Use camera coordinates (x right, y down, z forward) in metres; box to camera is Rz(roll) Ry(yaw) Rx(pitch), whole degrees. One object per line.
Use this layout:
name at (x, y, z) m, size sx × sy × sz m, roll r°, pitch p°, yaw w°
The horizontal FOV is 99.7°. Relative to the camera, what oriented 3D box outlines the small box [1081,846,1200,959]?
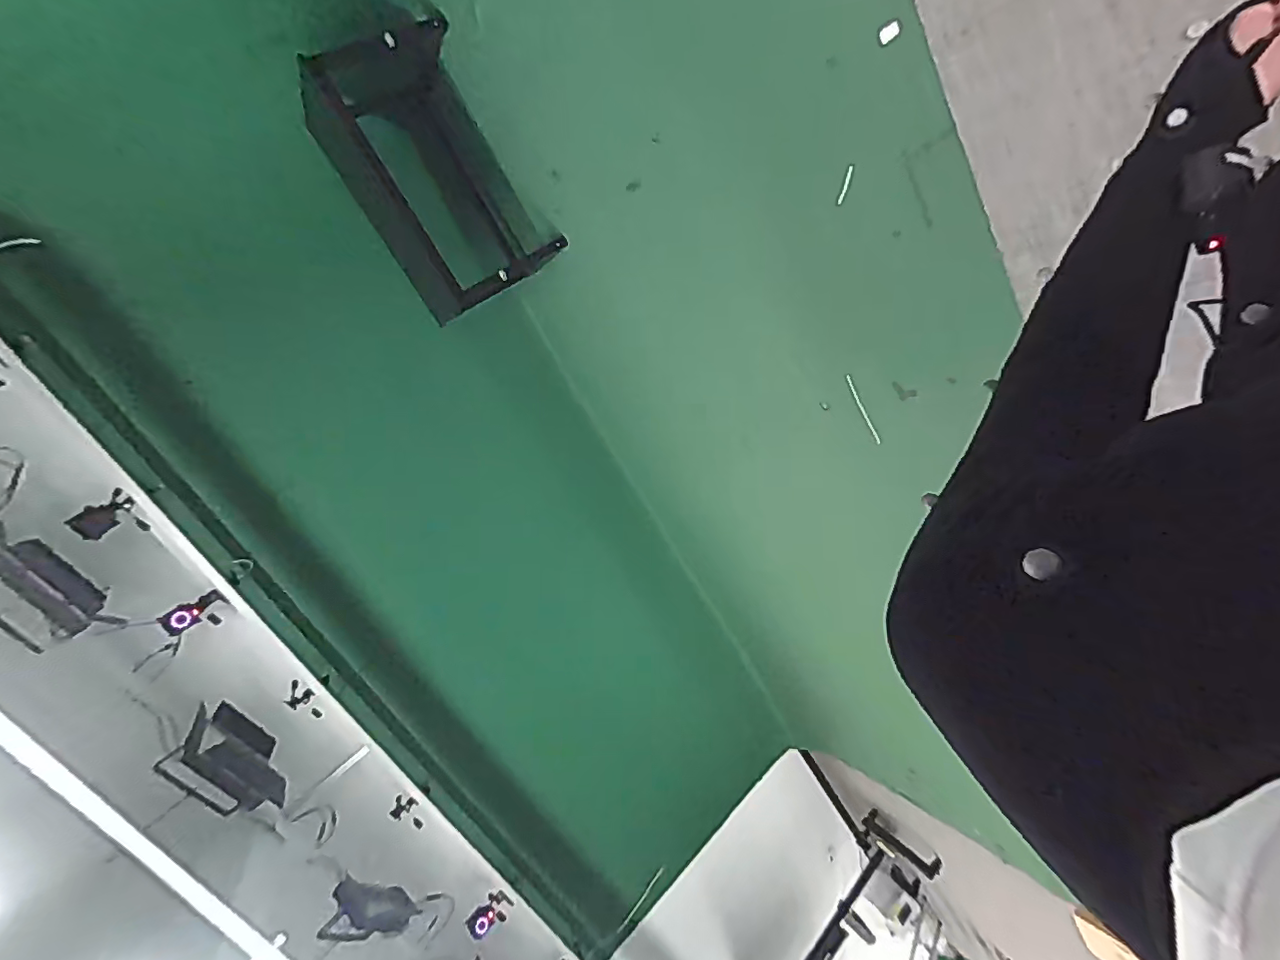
small box at (1.292, 1.106, 1.394) m, size 0.179 × 0.176 × 0.168 m, roll 57°, pitch 158°, yaw -16°
